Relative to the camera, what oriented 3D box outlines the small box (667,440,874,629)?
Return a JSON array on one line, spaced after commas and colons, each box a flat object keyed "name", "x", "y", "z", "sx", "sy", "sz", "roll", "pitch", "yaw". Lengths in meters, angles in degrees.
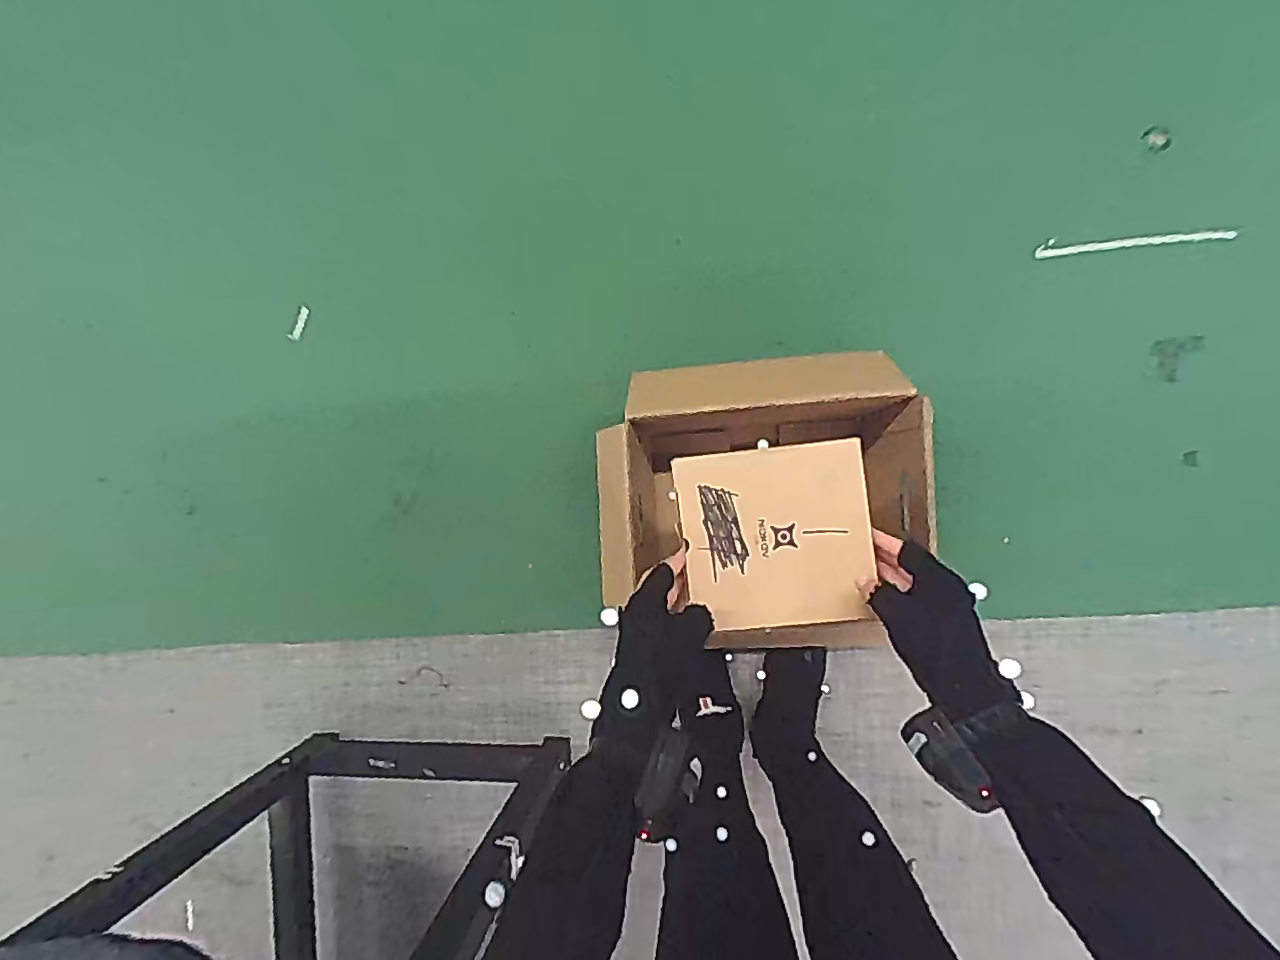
[{"name": "small box", "x": 0.129, "y": 0.057, "z": 0.583, "sx": 0.179, "sy": 0.176, "sz": 0.168, "roll": -7, "pitch": 87, "yaw": 6}]
